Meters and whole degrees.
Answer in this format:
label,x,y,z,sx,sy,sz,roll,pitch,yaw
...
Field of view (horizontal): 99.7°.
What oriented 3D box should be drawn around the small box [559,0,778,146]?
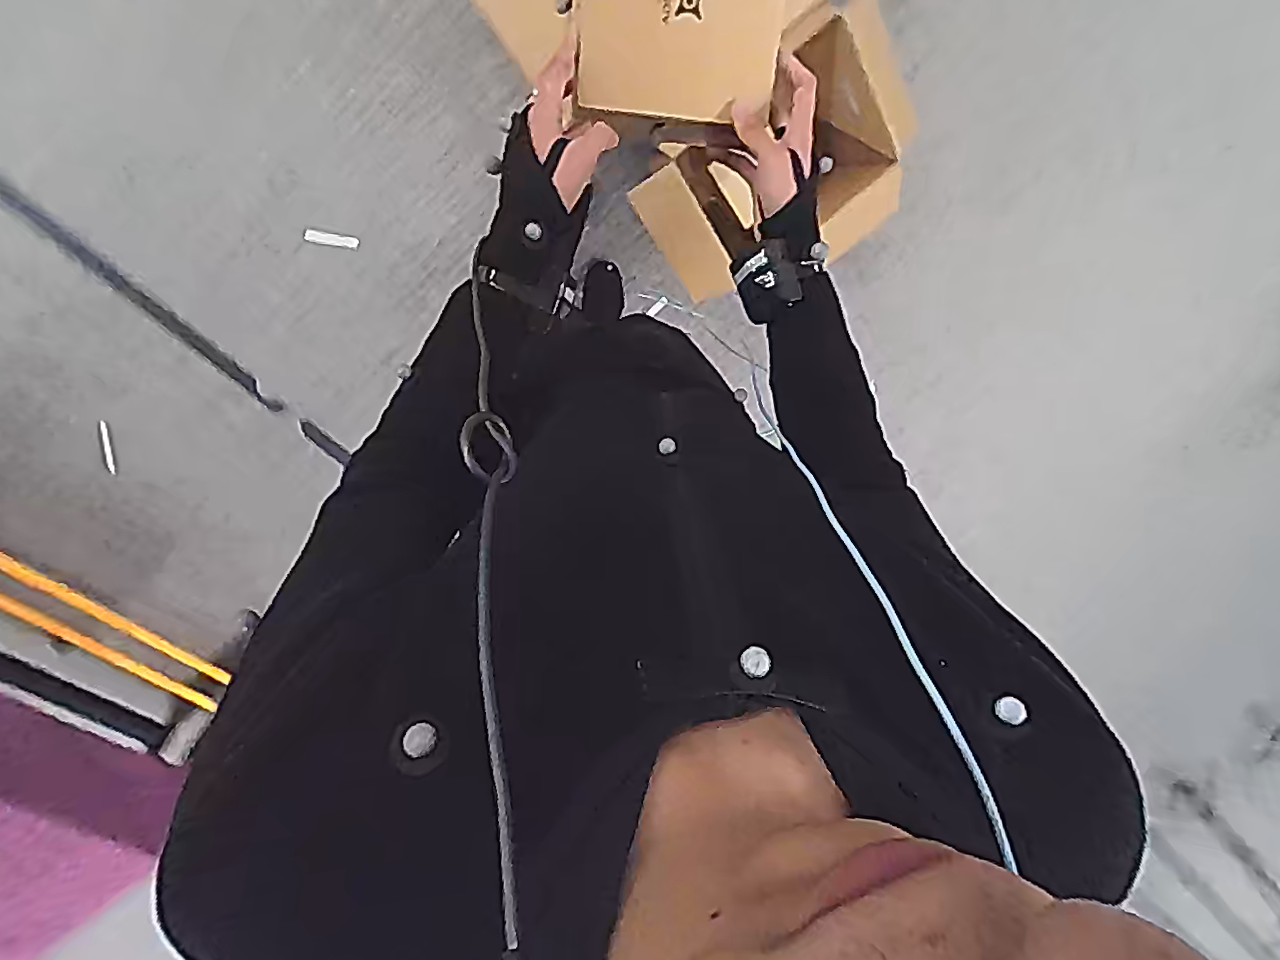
label,x,y,z,sx,sy,sz,roll,pitch,yaw
small box,0.016,-0.421,0.510,0.179,0.176,0.168,-2,117,-10
